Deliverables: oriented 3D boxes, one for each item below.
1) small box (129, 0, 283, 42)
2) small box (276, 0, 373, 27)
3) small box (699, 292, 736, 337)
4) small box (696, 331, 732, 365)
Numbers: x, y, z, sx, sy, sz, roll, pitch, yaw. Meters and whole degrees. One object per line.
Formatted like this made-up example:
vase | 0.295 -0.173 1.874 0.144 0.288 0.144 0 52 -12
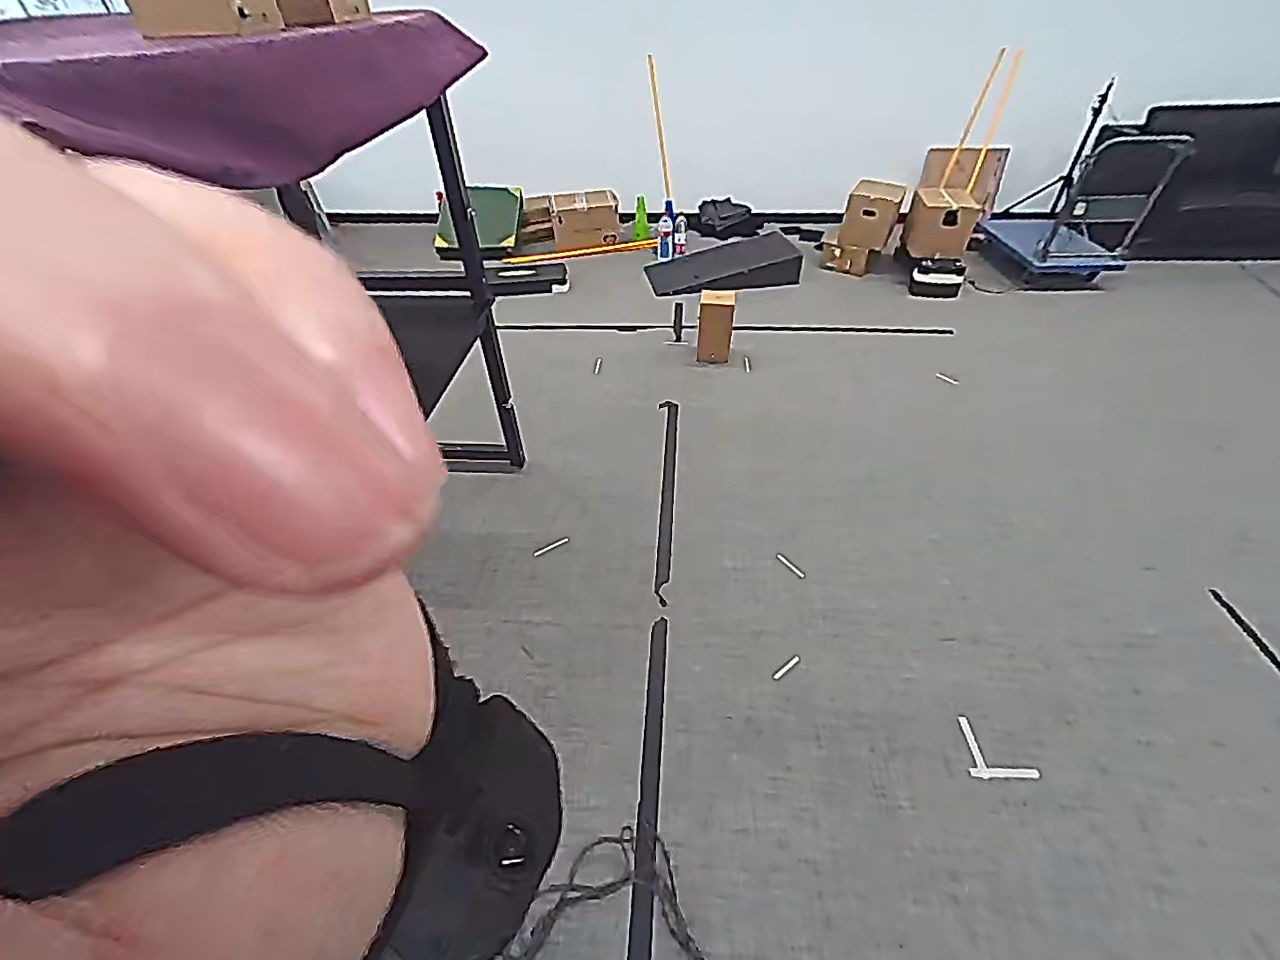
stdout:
small box | -0.768 -0.877 0.935 0.179 0.176 0.168 -2 42 1
small box | -0.724 -1.100 1.176 0.179 0.176 0.168 5 43 7
small box | 0.404 -0.857 2.811 0.179 0.176 0.168 5 42 7
small box | 0.400 -0.738 2.923 0.179 0.176 0.168 4 43 4
